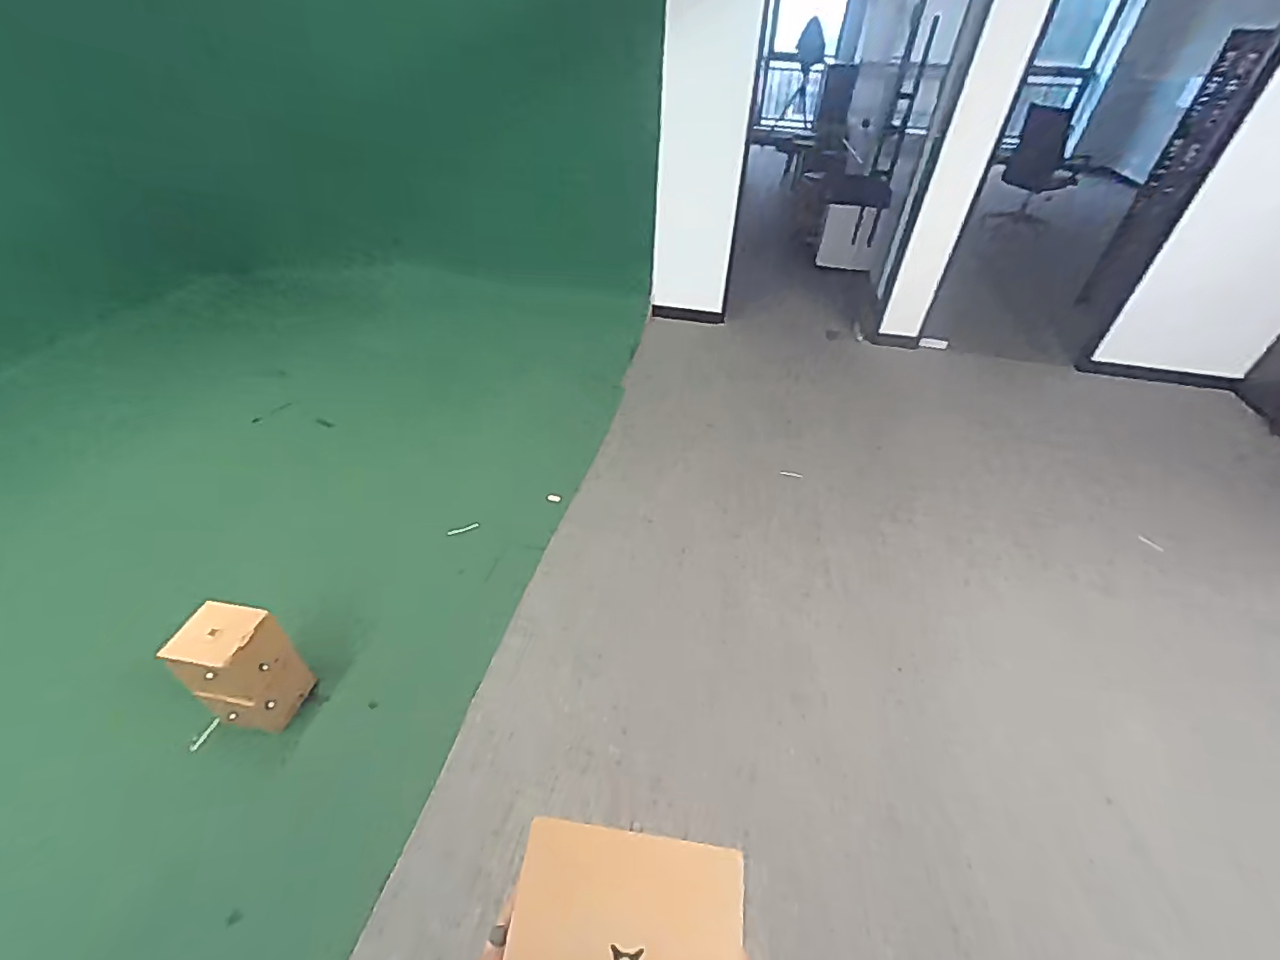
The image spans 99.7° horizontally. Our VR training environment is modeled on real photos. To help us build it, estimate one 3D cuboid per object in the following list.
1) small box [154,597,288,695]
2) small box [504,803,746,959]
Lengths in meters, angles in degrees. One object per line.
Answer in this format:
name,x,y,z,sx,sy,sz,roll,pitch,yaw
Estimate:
small box,-1.052,0.425,1.375,0.179,0.176,0.168,8,41,5
small box,-0.020,0.377,0.427,0.168,0.176,0.179,10,54,0
